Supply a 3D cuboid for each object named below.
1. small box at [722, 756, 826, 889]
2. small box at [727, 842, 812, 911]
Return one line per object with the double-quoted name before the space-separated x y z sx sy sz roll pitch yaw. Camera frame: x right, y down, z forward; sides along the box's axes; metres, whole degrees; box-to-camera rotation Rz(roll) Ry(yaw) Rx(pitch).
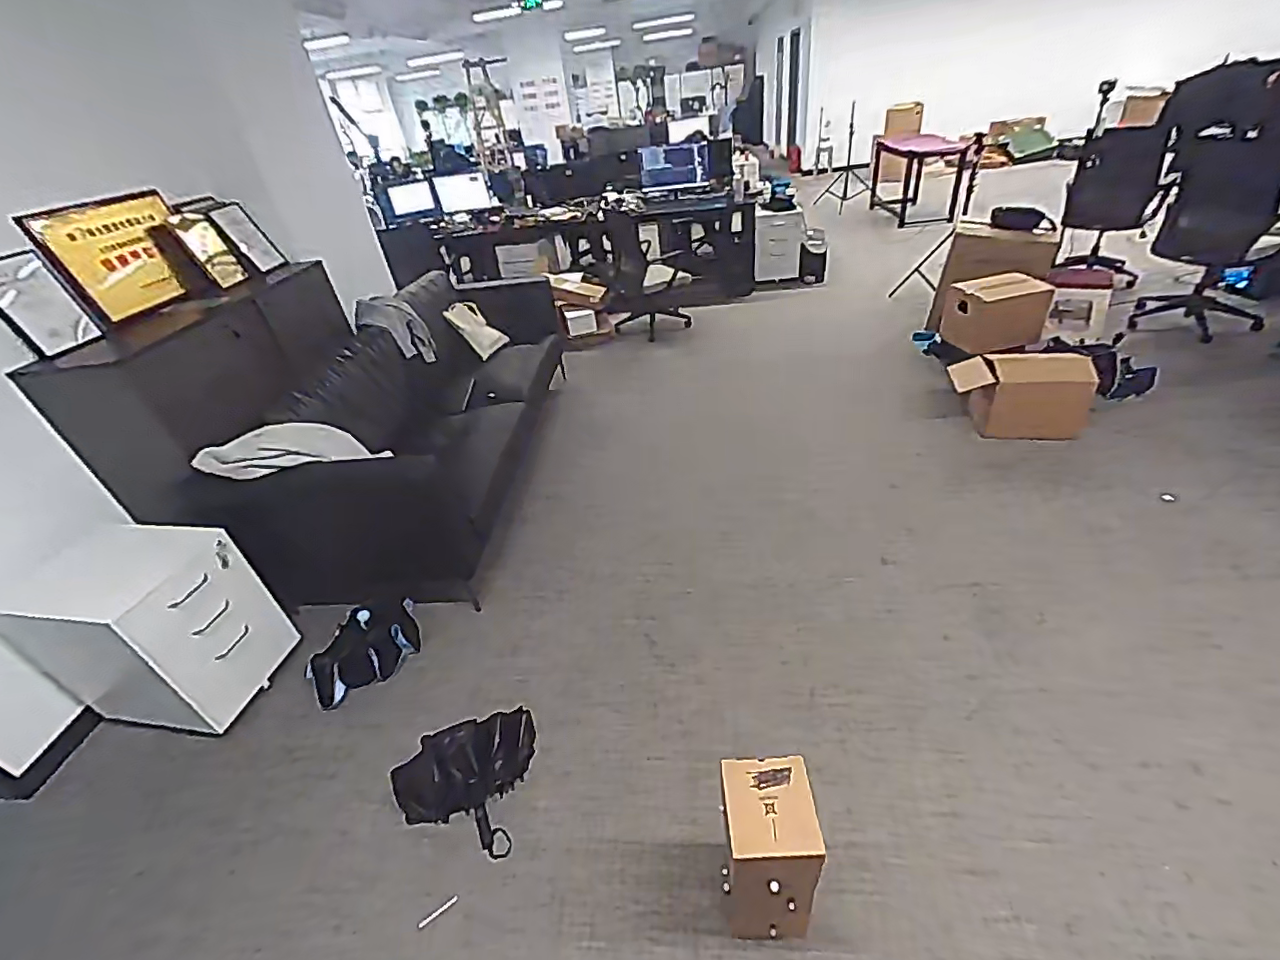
"small box" 0.255 0.677 1.071 0.168 0.176 0.179 -5 37 3
"small box" 0.275 0.804 1.173 0.168 0.176 0.179 -3 35 5
